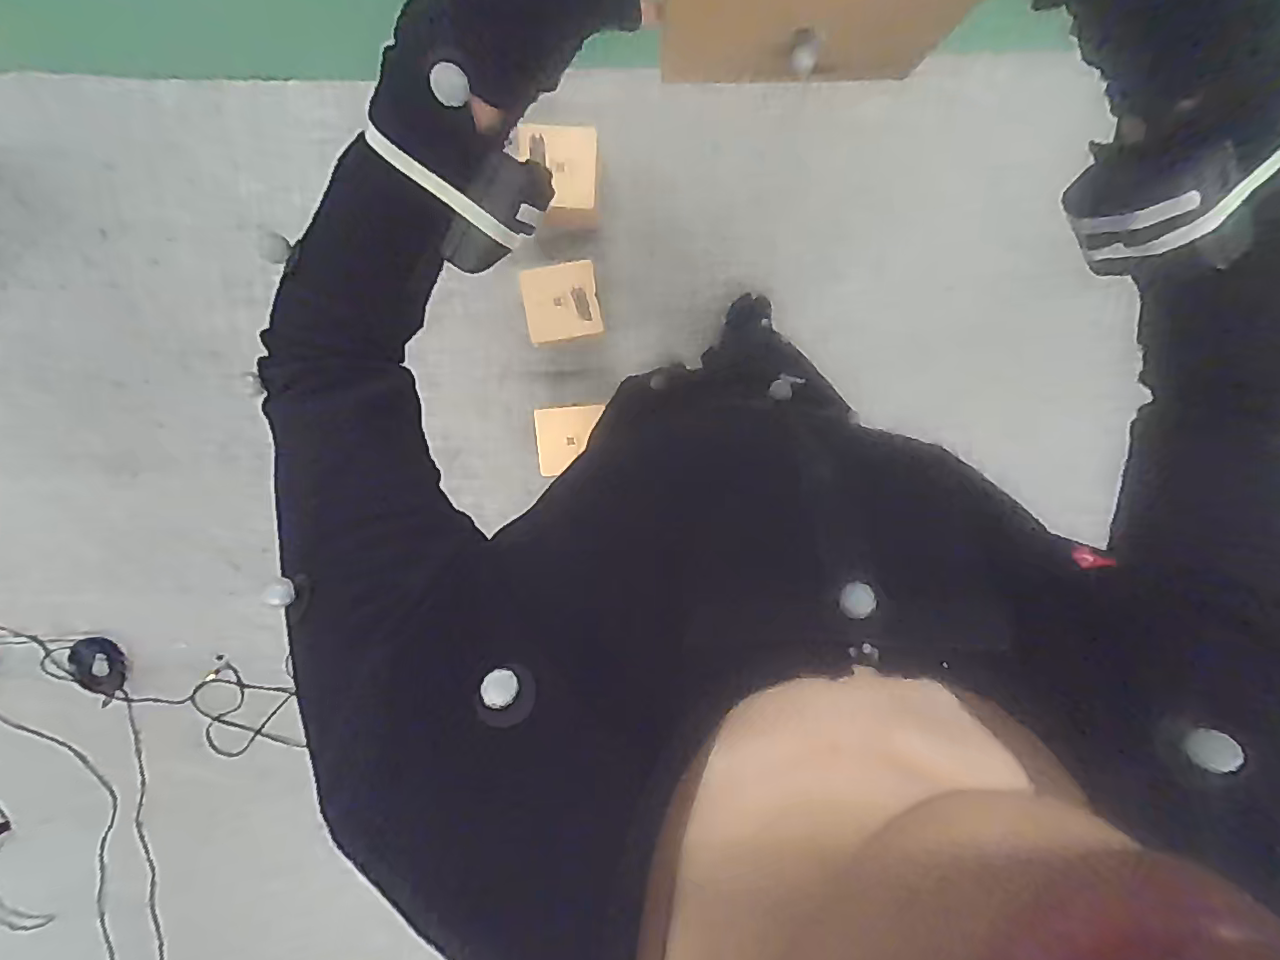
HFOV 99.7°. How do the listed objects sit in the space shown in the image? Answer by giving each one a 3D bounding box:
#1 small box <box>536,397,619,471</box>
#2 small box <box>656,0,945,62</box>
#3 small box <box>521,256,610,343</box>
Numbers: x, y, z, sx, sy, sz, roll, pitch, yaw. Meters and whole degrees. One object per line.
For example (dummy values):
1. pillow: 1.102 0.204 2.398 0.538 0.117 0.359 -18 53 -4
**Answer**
1. small box: -0.152 -0.120 1.373 0.179 0.176 0.168 -5 101 2
2. small box: 0.089 -0.341 0.255 0.168 0.176 0.179 0 104 2
3. small box: -0.172 -0.432 1.313 0.179 0.176 0.168 -8 100 4
